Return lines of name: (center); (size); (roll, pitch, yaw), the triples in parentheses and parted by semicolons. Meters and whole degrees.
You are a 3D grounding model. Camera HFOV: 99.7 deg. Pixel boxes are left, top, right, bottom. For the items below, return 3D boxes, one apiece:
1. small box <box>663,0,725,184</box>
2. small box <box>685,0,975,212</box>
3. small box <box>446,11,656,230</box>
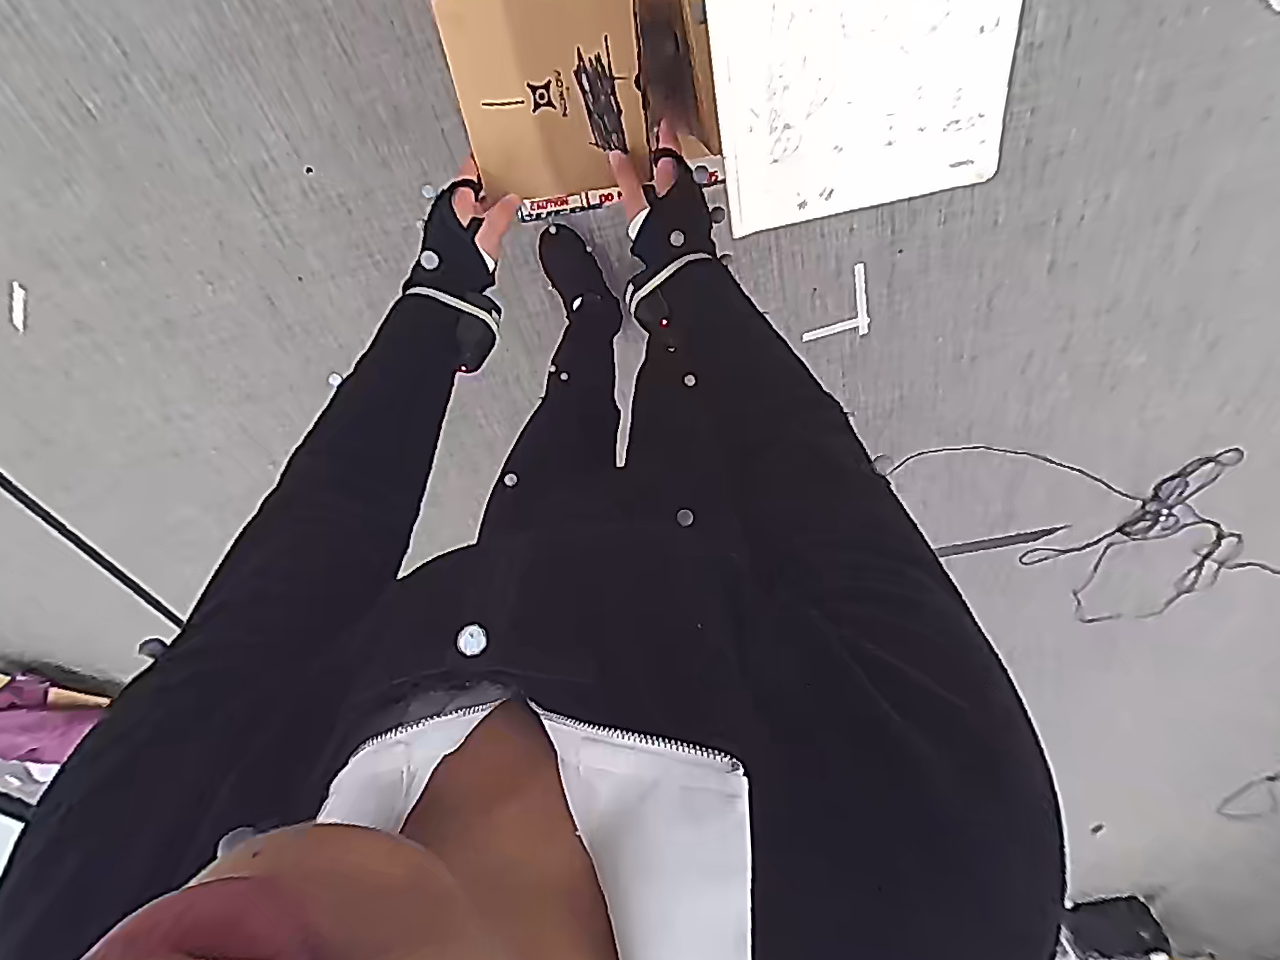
small box: (0.131, -0.433, 0.557); (0.179, 0.176, 0.168); (-14, 127, 8)
small box: (0.134, -0.339, 0.425); (0.168, 0.176, 0.179); (-13, 128, 6)
small box: (-0.080, -0.389, 0.585); (0.179, 0.176, 0.168); (-6, 129, 5)
